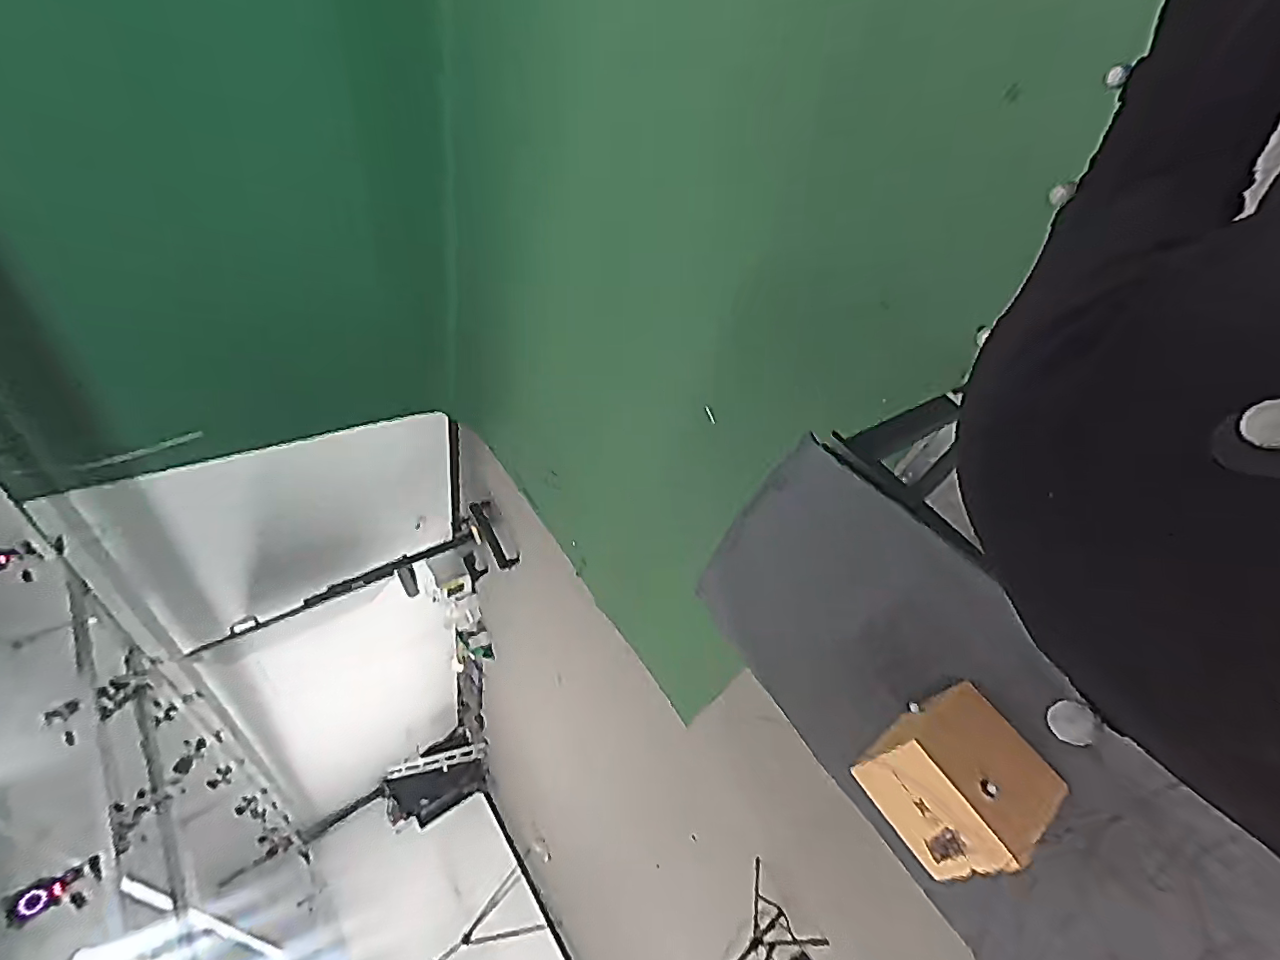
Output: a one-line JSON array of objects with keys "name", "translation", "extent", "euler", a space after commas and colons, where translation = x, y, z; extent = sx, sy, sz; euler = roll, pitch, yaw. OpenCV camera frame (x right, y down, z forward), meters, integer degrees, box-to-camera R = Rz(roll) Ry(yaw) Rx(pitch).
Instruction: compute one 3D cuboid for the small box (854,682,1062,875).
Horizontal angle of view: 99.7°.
[{"name": "small box", "translation": [0.472, 0.440, 0.807], "extent": [0.179, 0.176, 0.168], "euler": [52, 142, 26]}]
